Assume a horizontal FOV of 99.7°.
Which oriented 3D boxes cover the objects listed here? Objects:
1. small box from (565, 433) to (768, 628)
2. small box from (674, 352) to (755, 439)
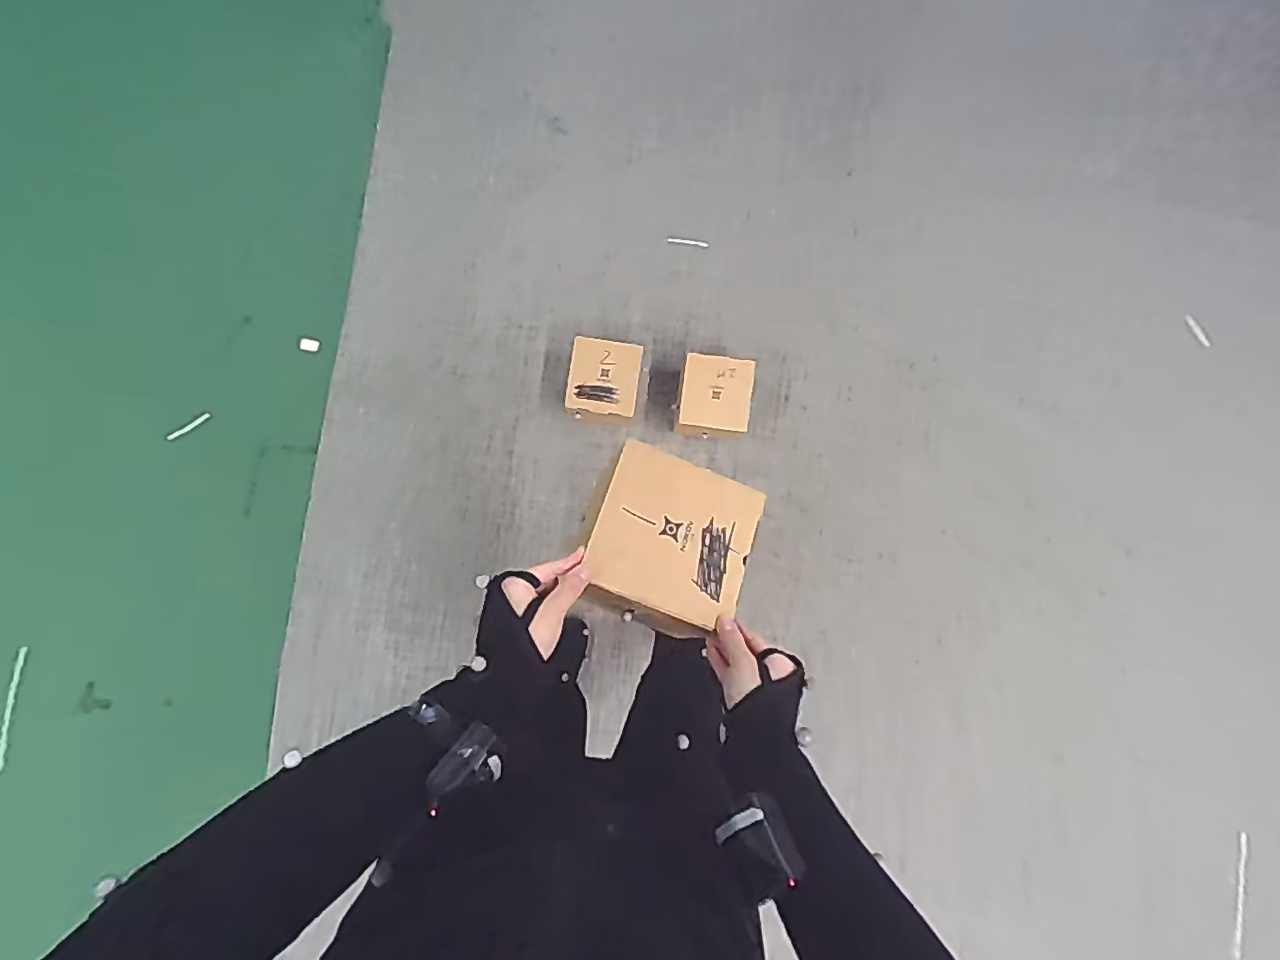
[{"bbox_3d":[0.024,0.071,0.655,0.179,0.176,0.168,22,70,-8],"label":"small box"},{"bbox_3d":[0.179,-0.203,1.355,0.168,0.176,0.179,8,86,-1],"label":"small box"}]
